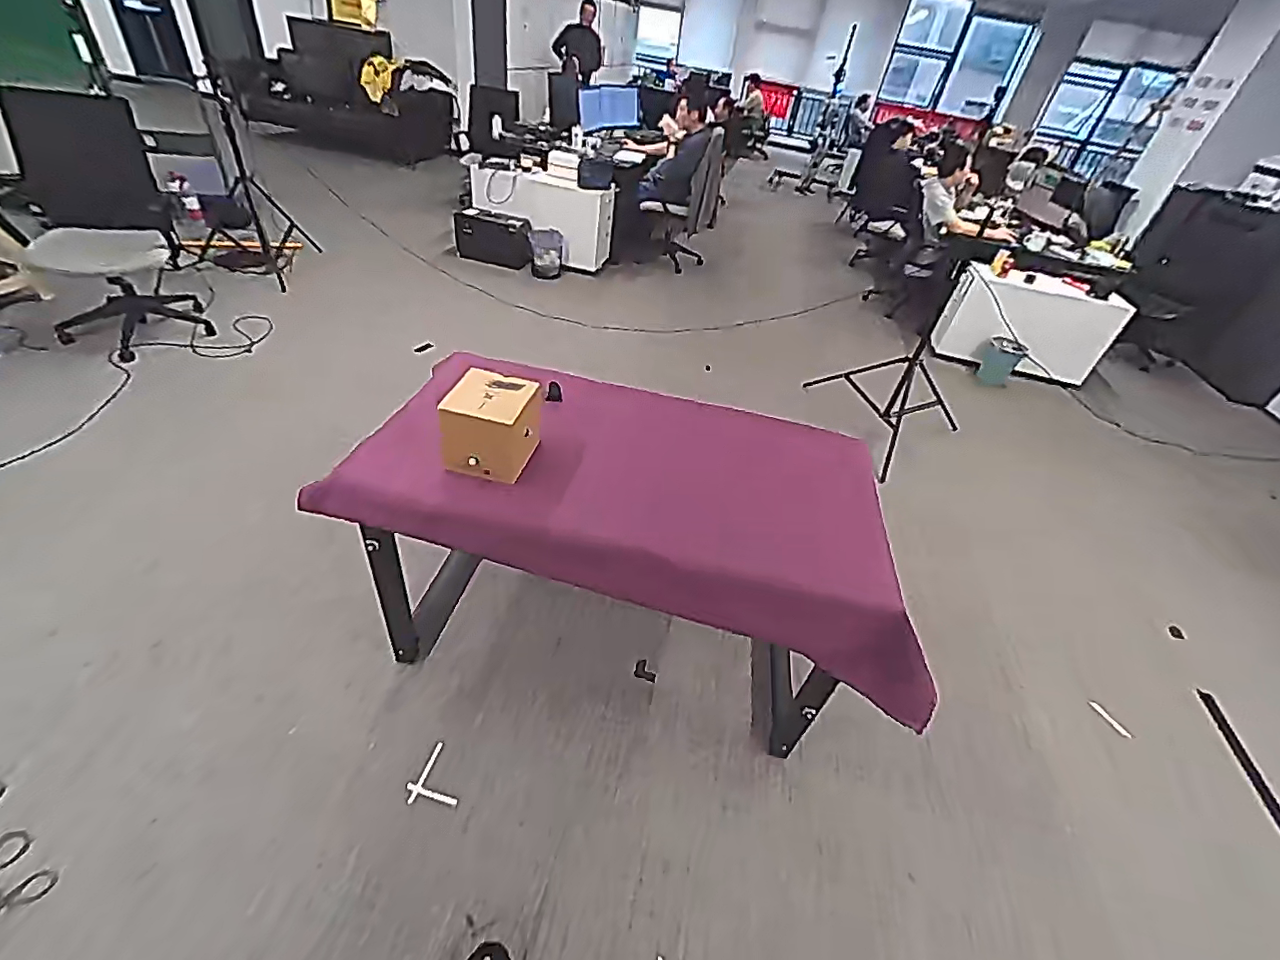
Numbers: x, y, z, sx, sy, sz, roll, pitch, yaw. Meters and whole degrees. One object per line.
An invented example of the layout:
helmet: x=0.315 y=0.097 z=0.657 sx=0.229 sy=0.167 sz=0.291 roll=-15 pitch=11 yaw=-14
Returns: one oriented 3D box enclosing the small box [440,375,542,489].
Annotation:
small box: x=-0.331 y=-0.109 z=1.220 sx=0.168 sy=0.176 sz=0.179 roll=13 pitch=40 yaw=4
